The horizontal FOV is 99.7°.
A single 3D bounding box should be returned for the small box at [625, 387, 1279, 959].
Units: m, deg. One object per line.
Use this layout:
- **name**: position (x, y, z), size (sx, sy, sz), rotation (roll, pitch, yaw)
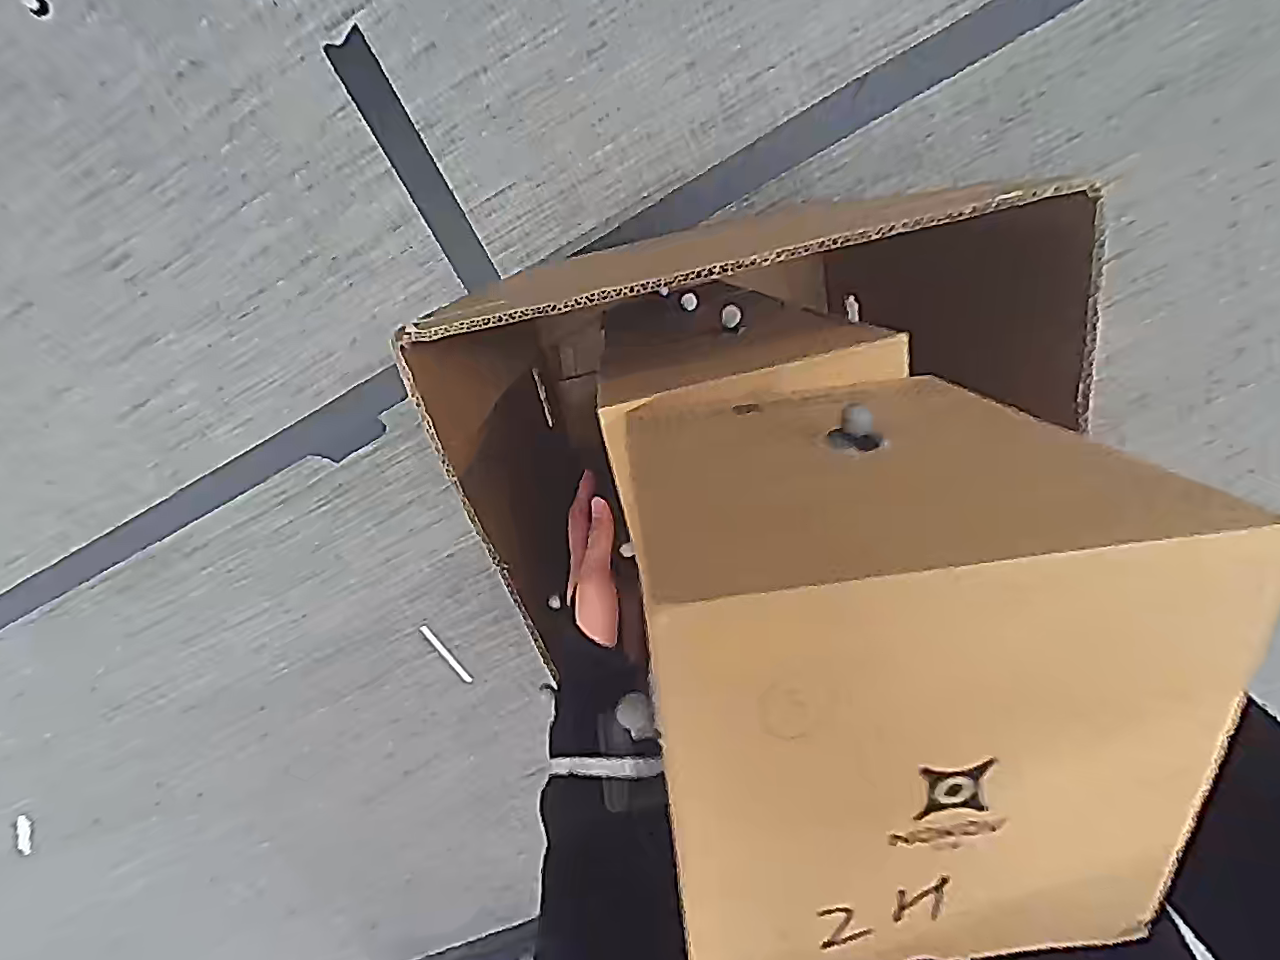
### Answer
- **small box**: position (0.085, 0.063, 0.240), size (0.168, 0.176, 0.179), rotation (-7, 114, -1)
